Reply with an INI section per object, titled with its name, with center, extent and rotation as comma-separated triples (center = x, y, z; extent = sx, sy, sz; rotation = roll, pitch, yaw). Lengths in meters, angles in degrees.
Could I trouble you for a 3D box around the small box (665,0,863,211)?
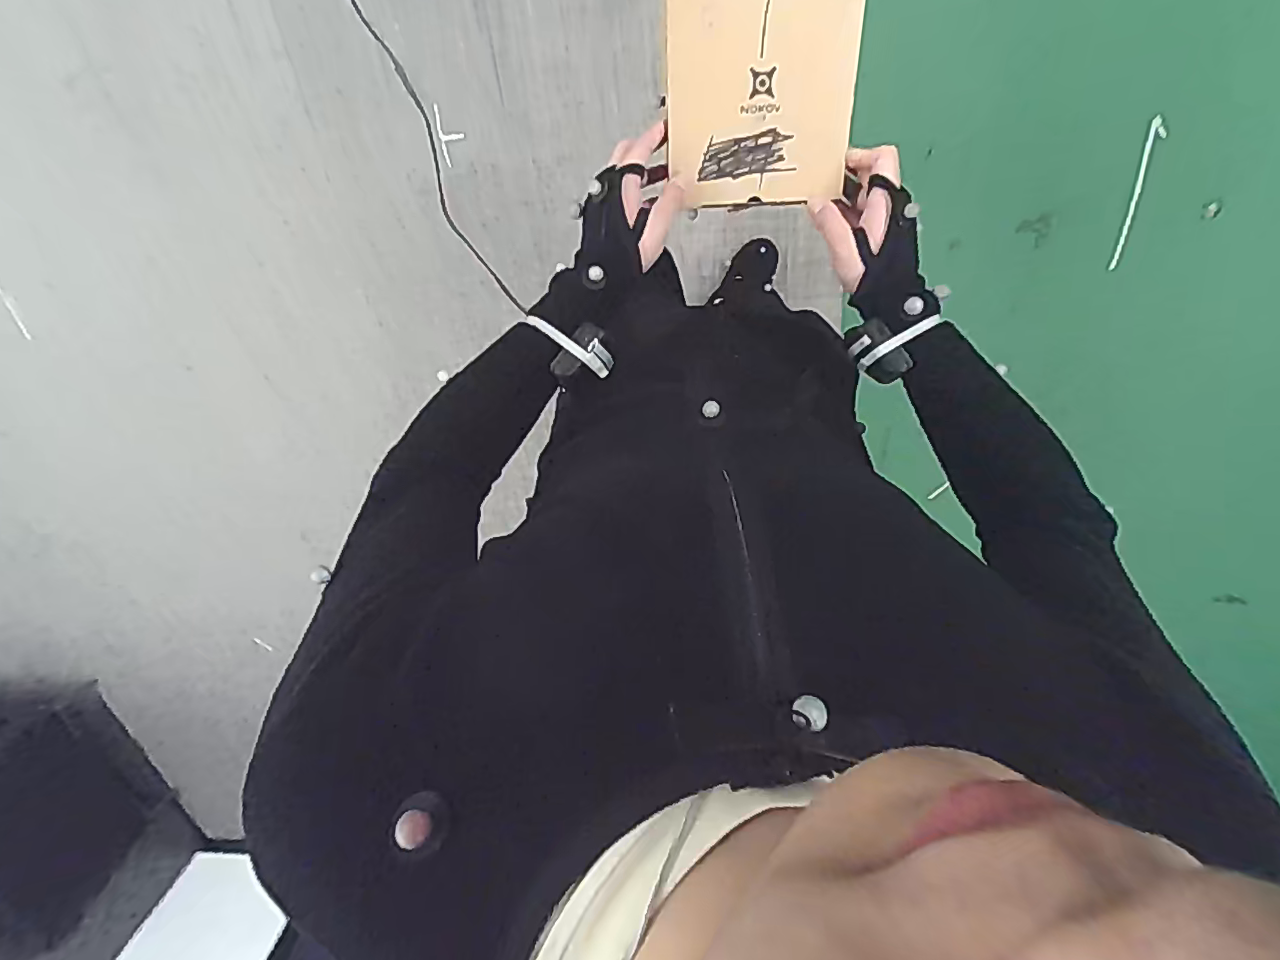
[small box]
center = 0.112, -0.384, 0.564
extent = 0.168, 0.176, 0.179
rotation = -2, 117, 1
